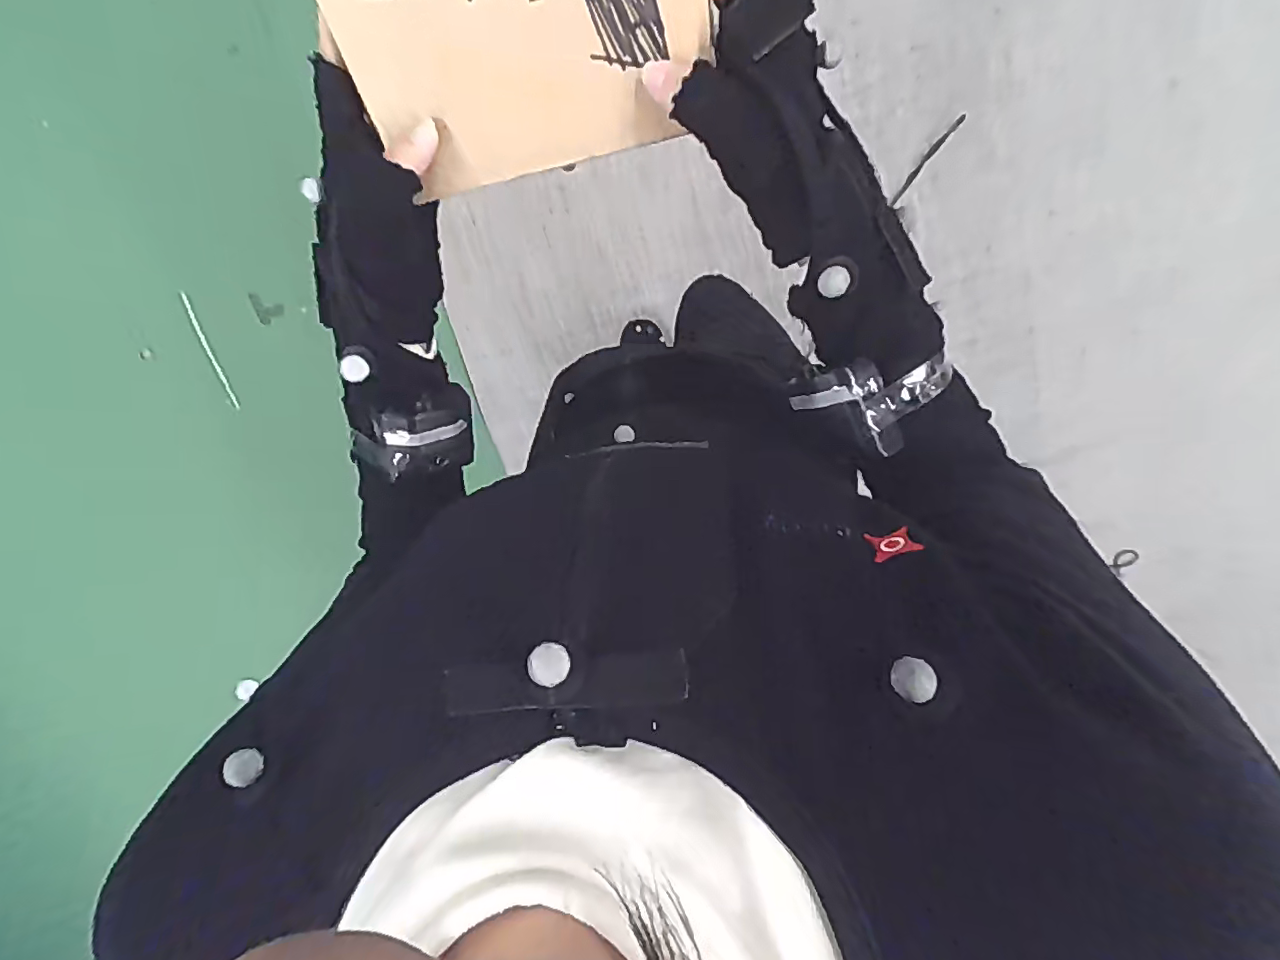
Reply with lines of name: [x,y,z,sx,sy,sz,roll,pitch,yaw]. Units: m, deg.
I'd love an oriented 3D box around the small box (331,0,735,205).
small box: [-0.056,-0.284,0.298,0.179,0.176,0.168,-12,132,10]
